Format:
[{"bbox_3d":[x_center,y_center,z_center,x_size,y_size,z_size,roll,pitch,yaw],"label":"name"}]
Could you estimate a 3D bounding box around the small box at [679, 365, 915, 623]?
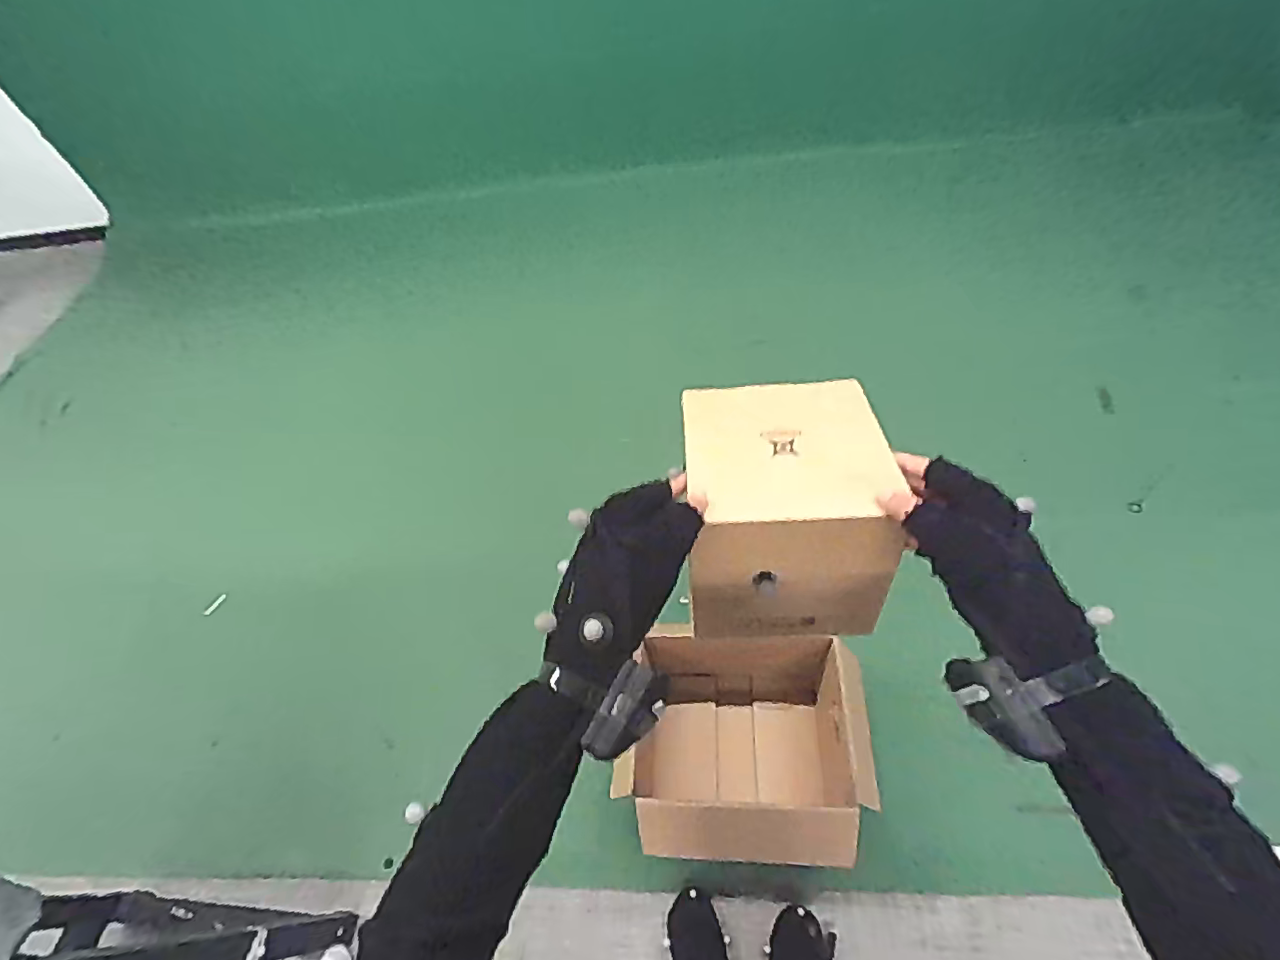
[{"bbox_3d":[0.123,0.017,0.494,0.168,0.176,0.179,-2,43,5],"label":"small box"}]
